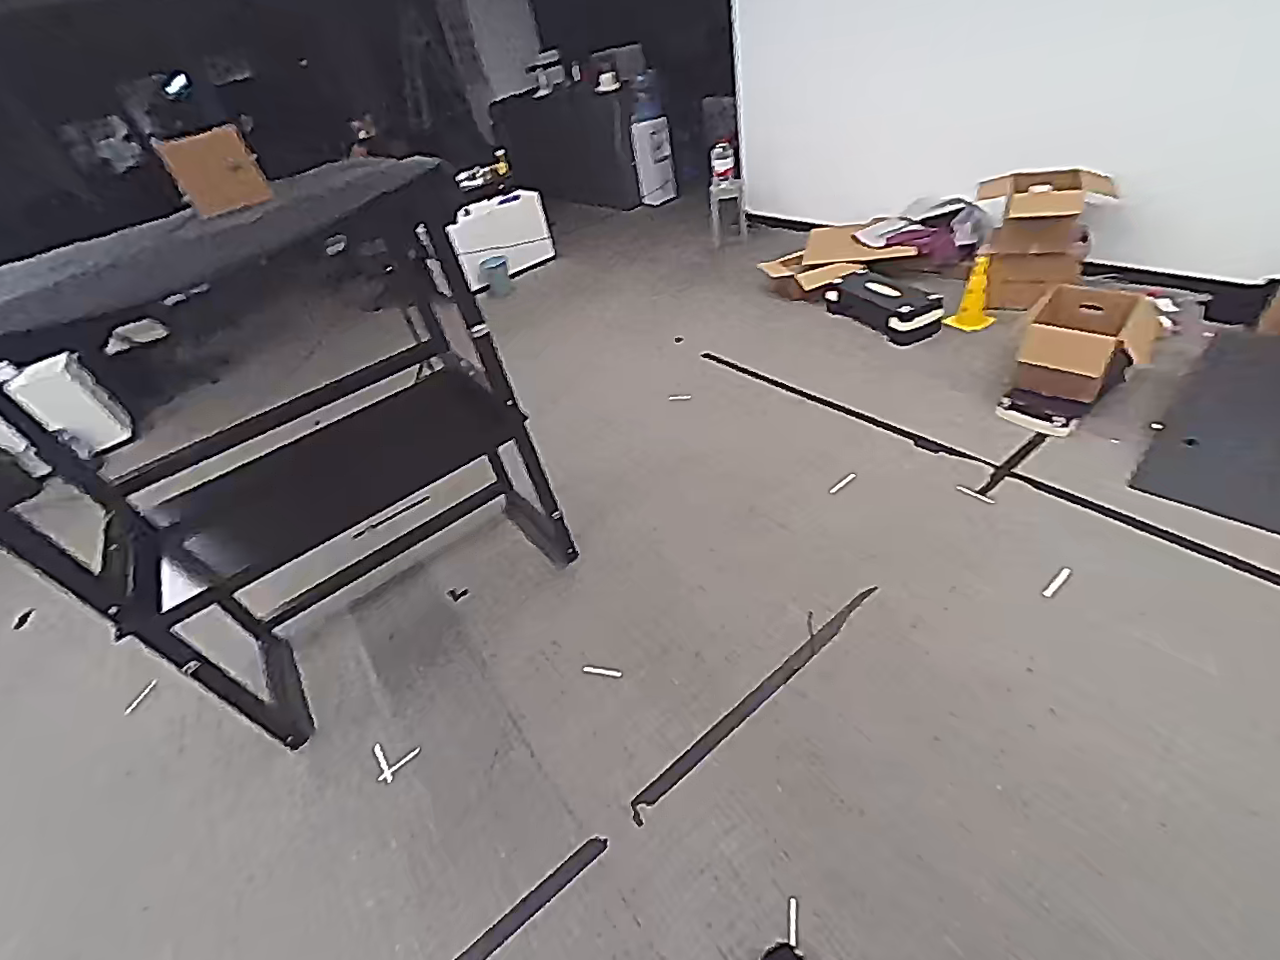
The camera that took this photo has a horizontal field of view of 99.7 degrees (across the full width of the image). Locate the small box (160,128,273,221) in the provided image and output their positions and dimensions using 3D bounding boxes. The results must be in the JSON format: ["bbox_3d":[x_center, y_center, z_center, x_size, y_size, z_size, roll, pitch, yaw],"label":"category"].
[{"bbox_3d":[-1.080,-0.789,1.393,0.179,0.176,0.168,-31,42,-20],"label":"small box"}]
